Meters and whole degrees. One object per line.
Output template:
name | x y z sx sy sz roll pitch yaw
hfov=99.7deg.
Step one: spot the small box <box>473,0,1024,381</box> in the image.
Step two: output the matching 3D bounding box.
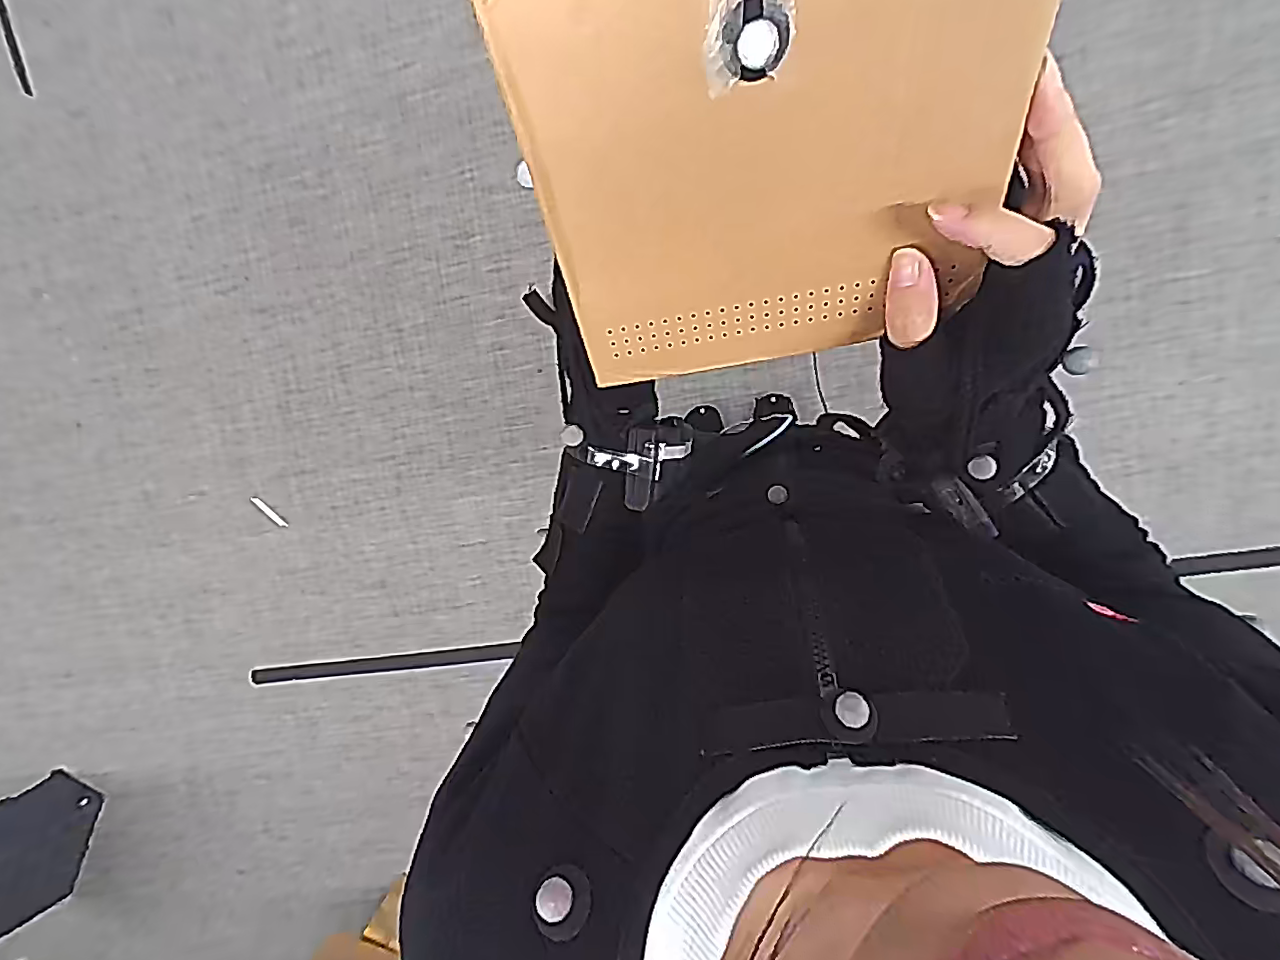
small box | 0.049 -0.165 0.258 0.179 0.168 0.176 -8 138 9
